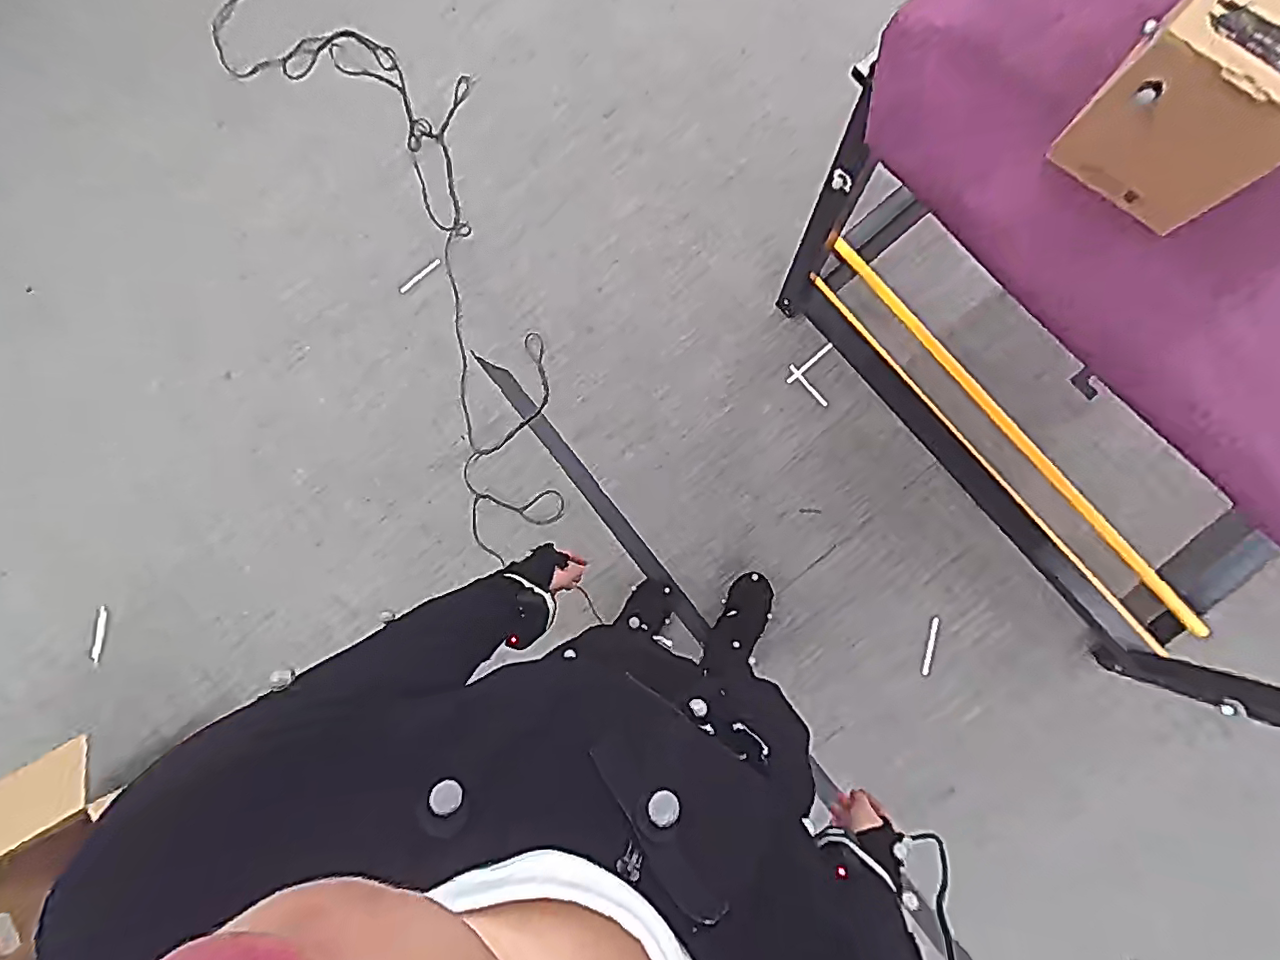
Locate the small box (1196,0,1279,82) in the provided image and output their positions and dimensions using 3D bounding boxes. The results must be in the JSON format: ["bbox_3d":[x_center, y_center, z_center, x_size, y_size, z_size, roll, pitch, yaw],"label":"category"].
[{"bbox_3d":[0.778,-0.568,0.567,0.168,0.176,0.179,-43,84,0],"label":"small box"}]
